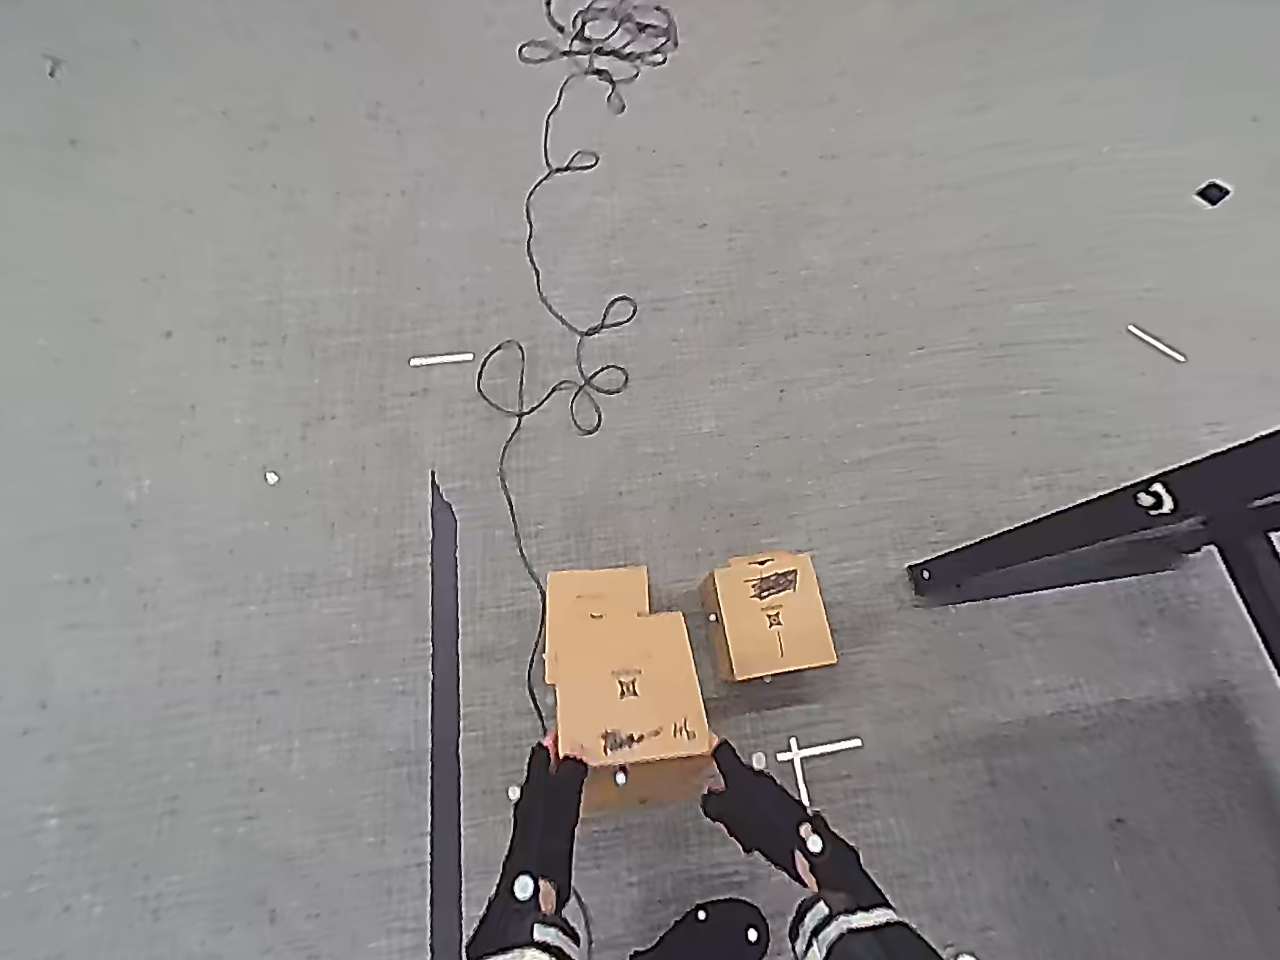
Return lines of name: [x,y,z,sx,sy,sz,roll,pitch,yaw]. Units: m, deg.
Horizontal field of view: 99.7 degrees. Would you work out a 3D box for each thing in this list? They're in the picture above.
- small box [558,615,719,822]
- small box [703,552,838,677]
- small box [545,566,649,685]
small box: [-0.016,0.290,0.666,0.168,0.176,0.179,-1,44,-10]
small box: [0.211,0.236,0.931,0.168,0.176,0.179,-9,71,-4]
small box: [-0.067,0.252,0.923,0.168,0.176,0.179,-2,69,-3]
